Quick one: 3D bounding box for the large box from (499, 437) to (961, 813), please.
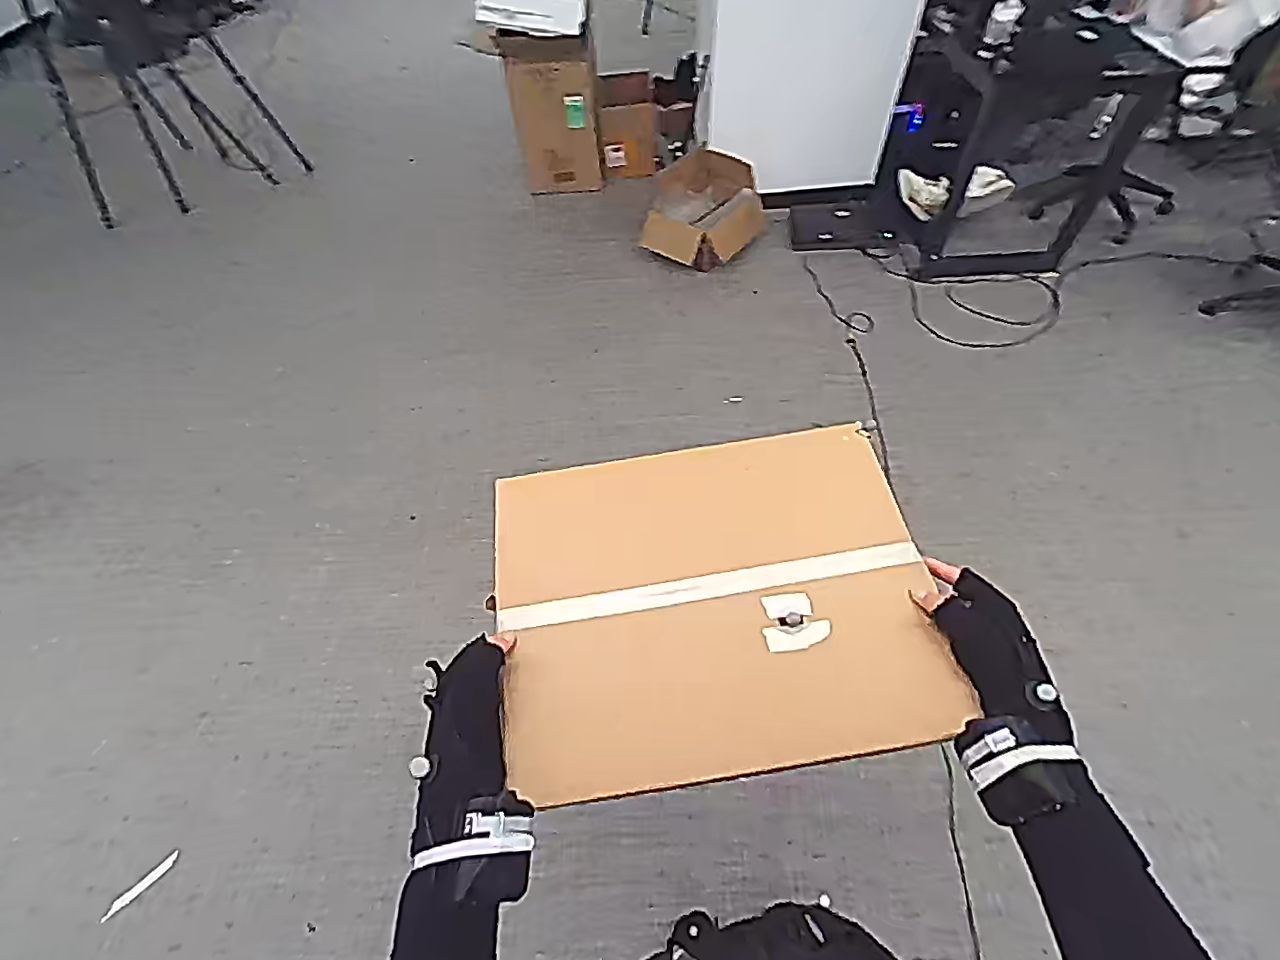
[{"bbox_3d":[0.069,0.189,0.663,0.408,0.320,0.320,-10,61,-2],"label":"large box"}]
